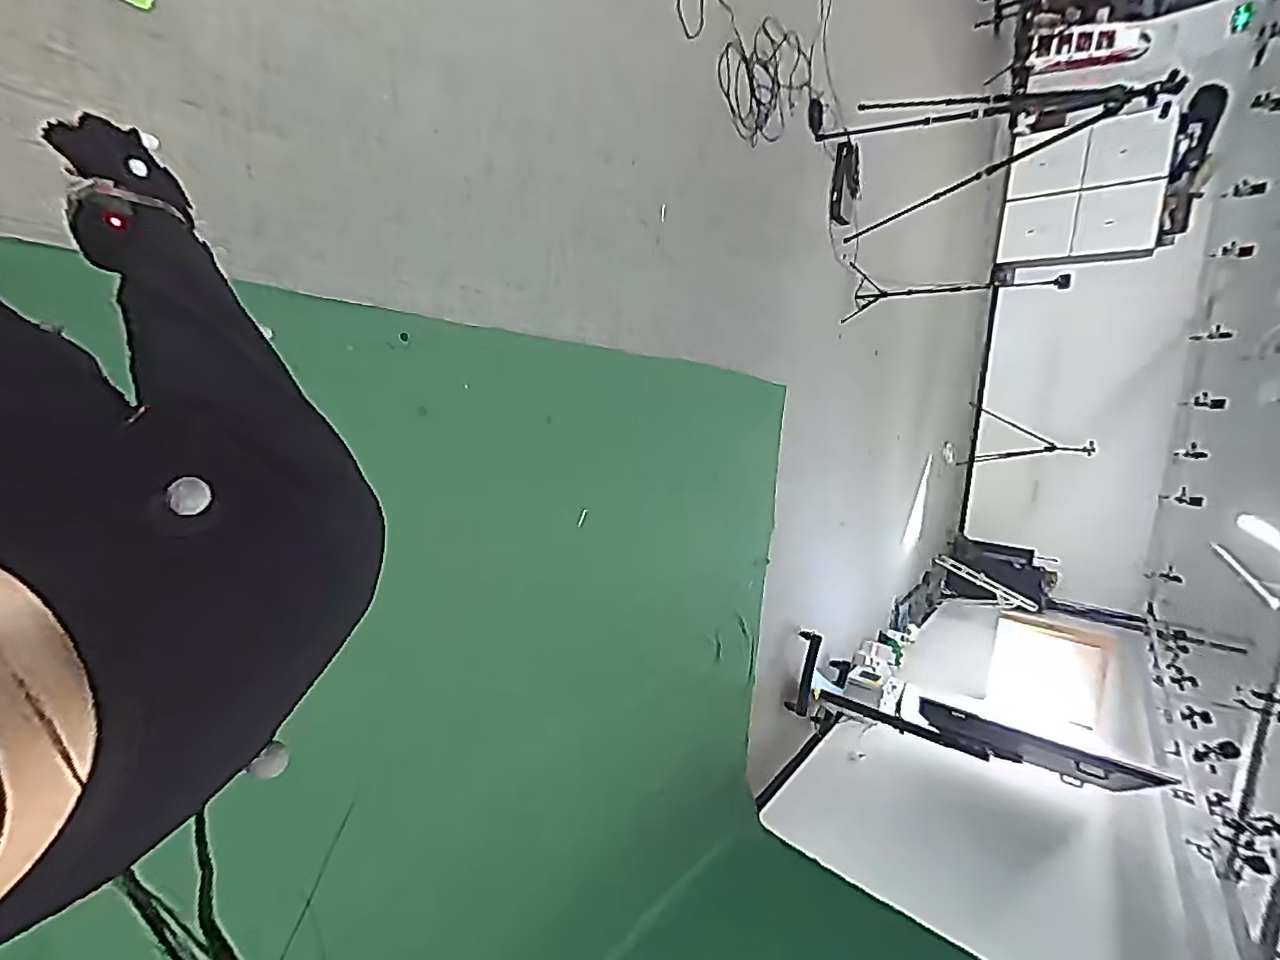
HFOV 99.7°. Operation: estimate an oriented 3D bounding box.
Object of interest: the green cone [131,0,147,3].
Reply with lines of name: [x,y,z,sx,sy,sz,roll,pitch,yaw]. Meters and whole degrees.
green cone: [-0.891,-1.004,0.875,0.200,0.368,0.202,-2,98,-51]
